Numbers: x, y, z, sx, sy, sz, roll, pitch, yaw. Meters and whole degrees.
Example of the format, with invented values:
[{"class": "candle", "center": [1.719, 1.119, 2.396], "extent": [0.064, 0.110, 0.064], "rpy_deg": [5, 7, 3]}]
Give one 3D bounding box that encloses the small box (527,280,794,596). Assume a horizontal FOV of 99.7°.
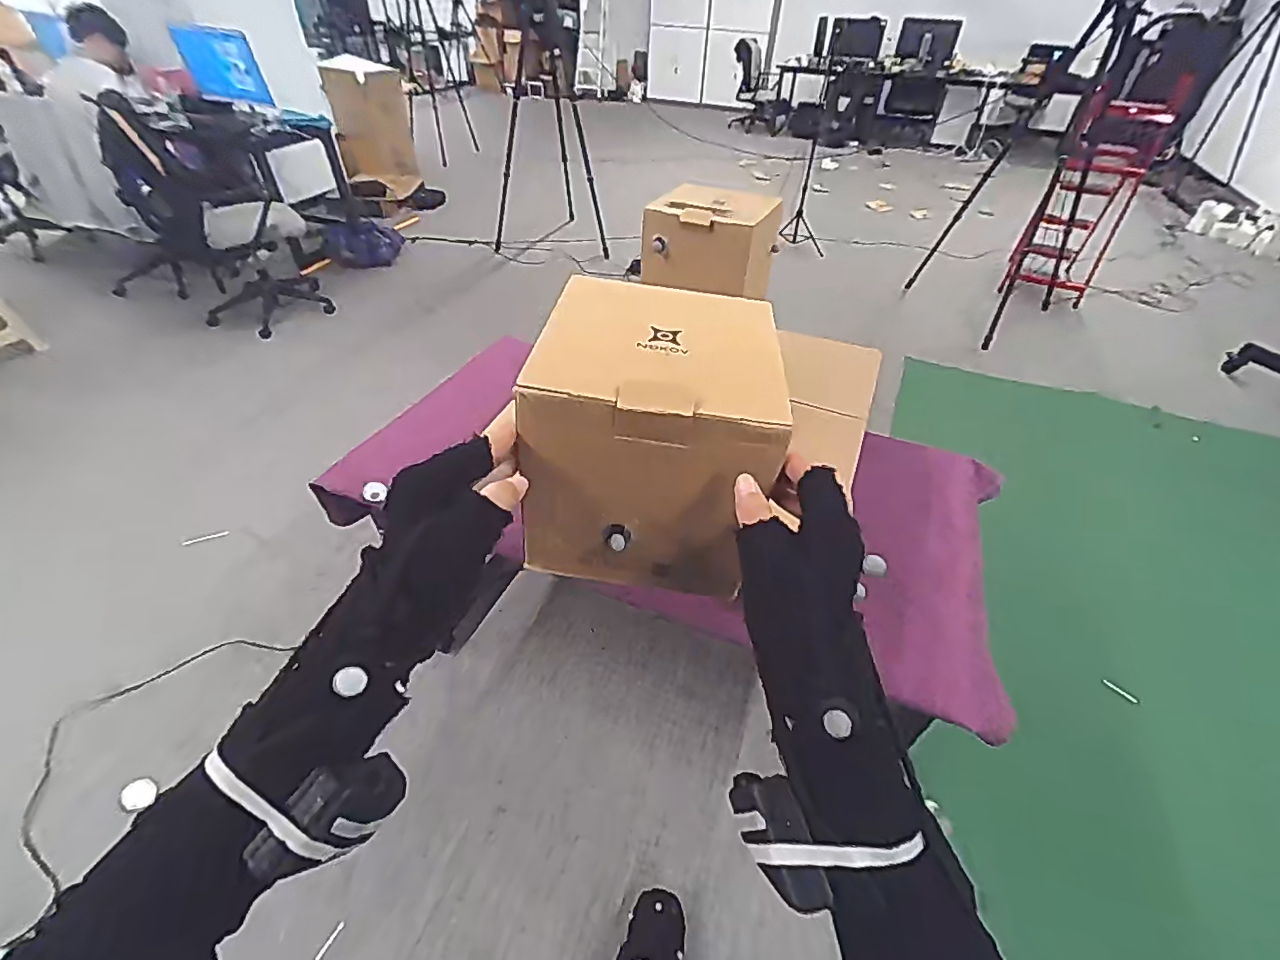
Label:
[{"class": "small box", "center": [0.010, -0.035, 0.435], "extent": [0.168, 0.176, 0.179], "rpy_deg": [8, 42, 0]}]
